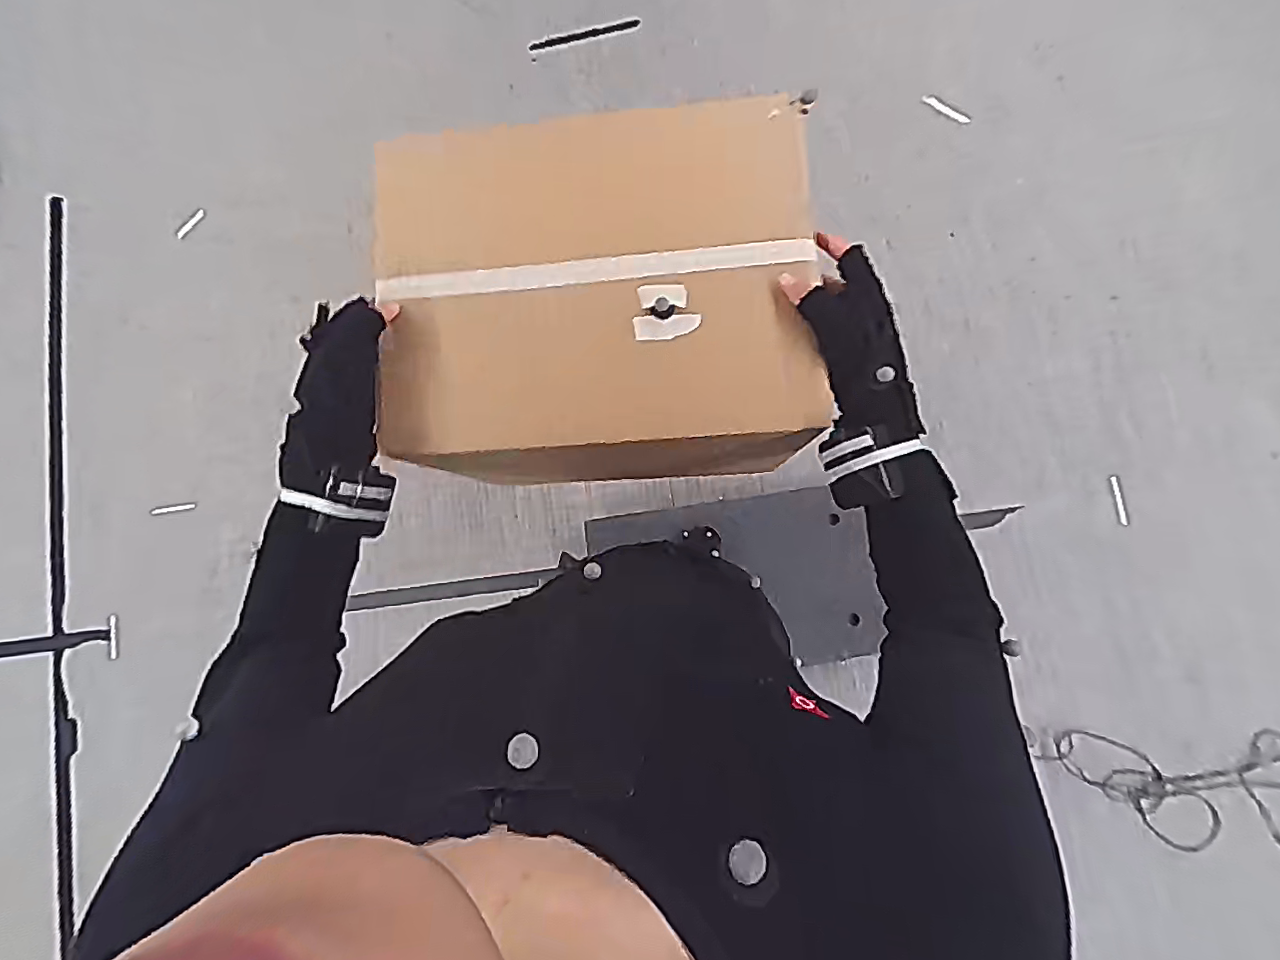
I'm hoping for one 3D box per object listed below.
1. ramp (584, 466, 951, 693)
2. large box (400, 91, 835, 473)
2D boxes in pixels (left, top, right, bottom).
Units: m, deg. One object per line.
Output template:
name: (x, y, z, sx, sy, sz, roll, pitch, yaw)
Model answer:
ramp: (0.367, 0.260, 1.529, 0.991, 0.206, 0.509, -11, 81, 3)
large box: (-0.022, -0.187, 0.652, 0.408, 0.320, 0.320, -2, 85, 4)
